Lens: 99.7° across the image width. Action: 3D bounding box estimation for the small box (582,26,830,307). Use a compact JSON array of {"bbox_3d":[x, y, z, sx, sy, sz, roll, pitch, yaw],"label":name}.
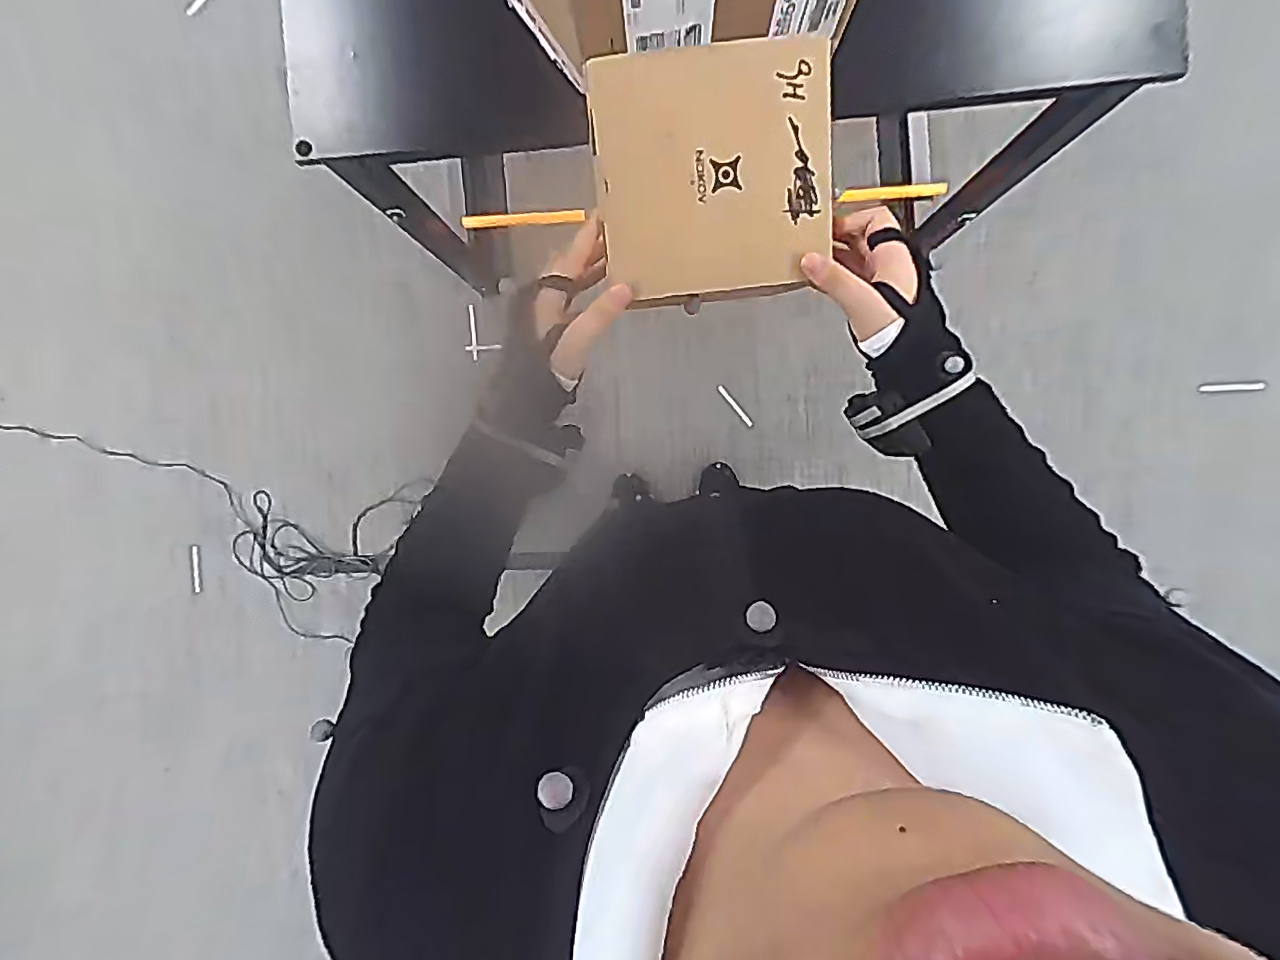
[{"bbox_3d":[0.053,-0.248,0.474,0.179,0.176,0.168,-5,104,1],"label":"small box"}]
